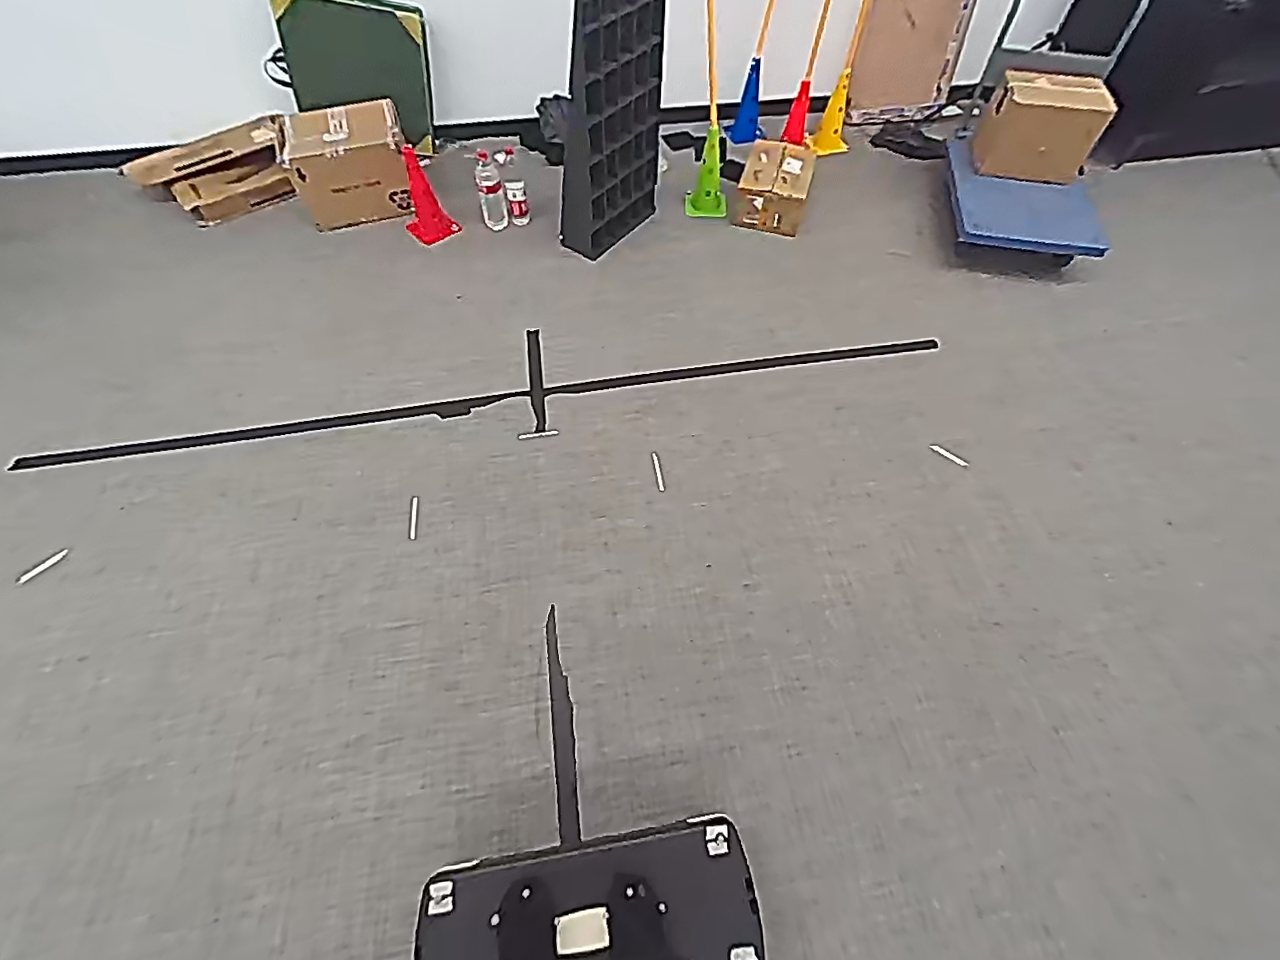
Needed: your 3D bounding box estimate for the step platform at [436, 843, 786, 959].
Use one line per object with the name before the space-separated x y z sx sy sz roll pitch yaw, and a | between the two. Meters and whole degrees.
step platform | -0.055 0.939 1.098 0.684 0.204 0.286 -3 56 -4
